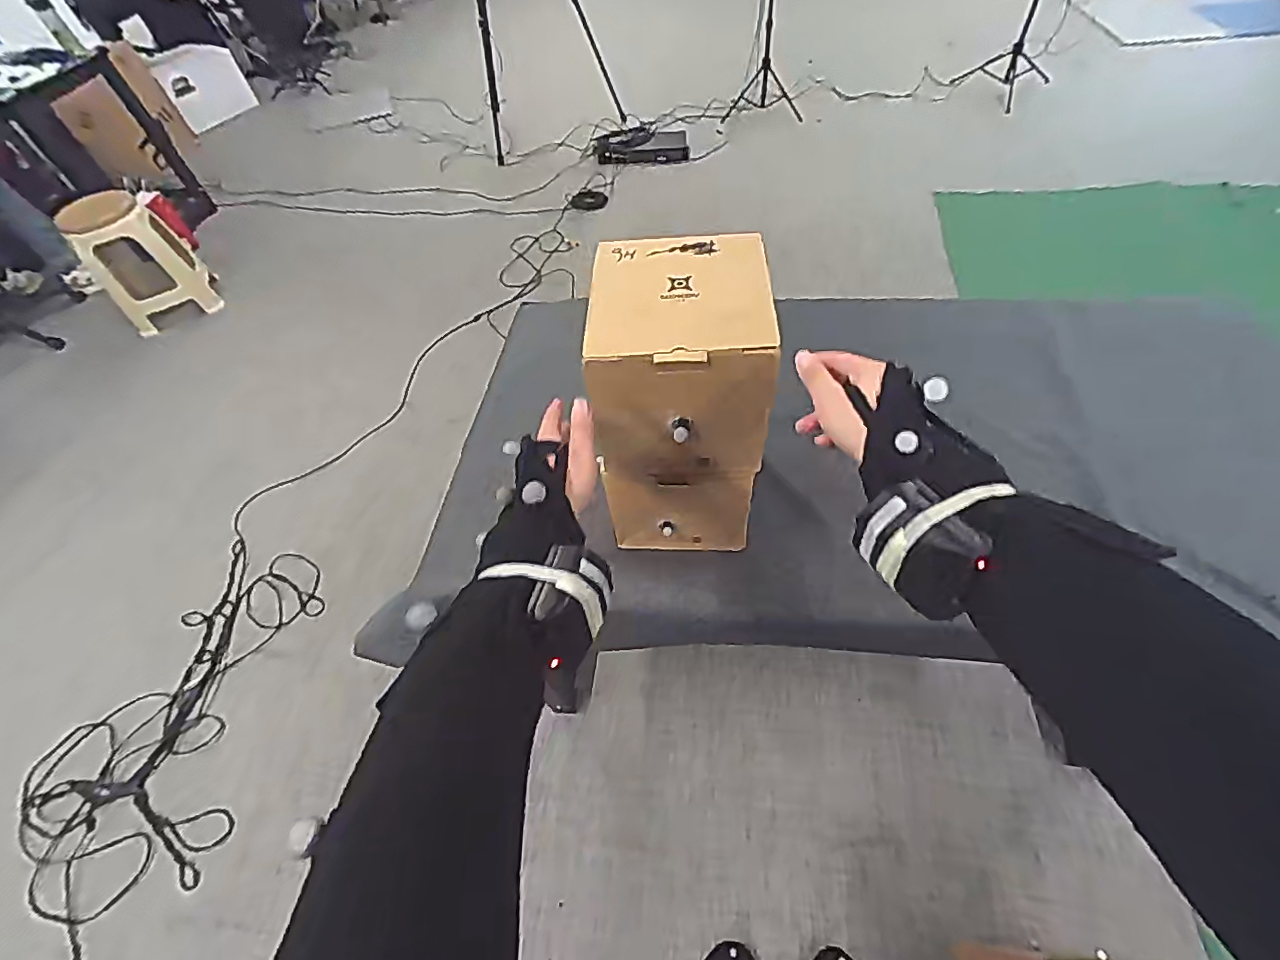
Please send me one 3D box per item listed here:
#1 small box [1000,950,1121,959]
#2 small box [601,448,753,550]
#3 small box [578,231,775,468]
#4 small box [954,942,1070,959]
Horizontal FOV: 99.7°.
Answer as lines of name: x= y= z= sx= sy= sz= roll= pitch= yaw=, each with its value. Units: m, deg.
small box: x=0.638 y=0.762 z=0.739 sx=0.179 sy=0.176 sz=0.168 roll=-1 pitch=53 yaw=6
small box: x=0.049 y=-0.029 z=0.685 sx=0.168 sy=0.176 sz=0.179 roll=0 pitch=54 yaw=6
small box: x=0.040 y=-0.123 z=0.551 sx=0.168 sy=0.176 sz=0.179 roll=-2 pitch=55 yaw=5
small box: x=0.645 y=0.861 z=0.870 sx=0.179 sy=0.176 sz=0.168 roll=-1 pitch=53 yaw=6
